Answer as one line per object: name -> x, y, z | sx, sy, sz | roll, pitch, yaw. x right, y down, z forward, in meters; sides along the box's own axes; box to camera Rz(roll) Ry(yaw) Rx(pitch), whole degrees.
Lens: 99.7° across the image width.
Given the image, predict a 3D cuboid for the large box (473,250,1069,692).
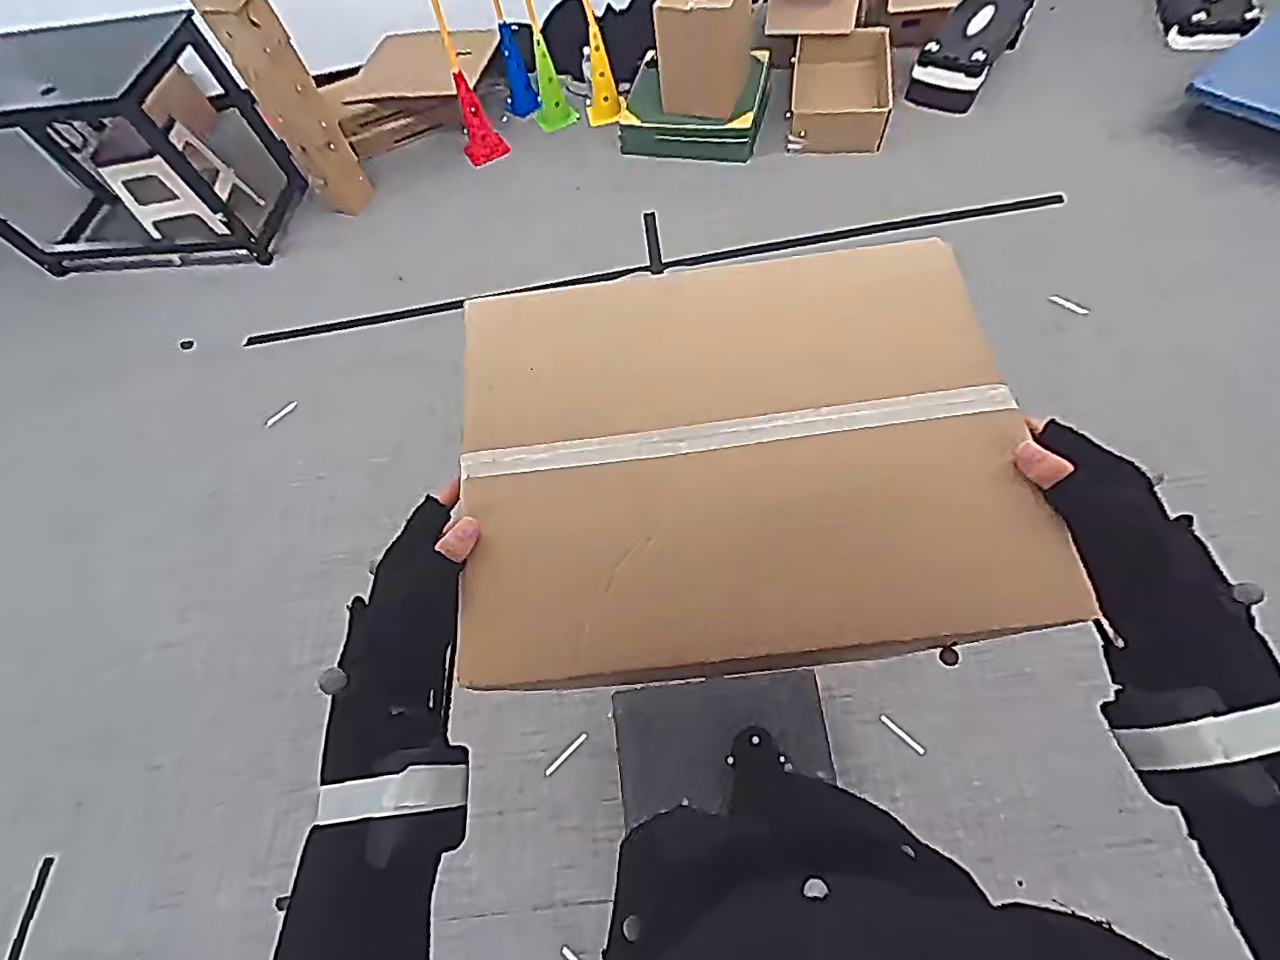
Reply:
large box -> 0.082, 0.025, 0.549 | 0.408, 0.320, 0.320 | -8, 68, 2
